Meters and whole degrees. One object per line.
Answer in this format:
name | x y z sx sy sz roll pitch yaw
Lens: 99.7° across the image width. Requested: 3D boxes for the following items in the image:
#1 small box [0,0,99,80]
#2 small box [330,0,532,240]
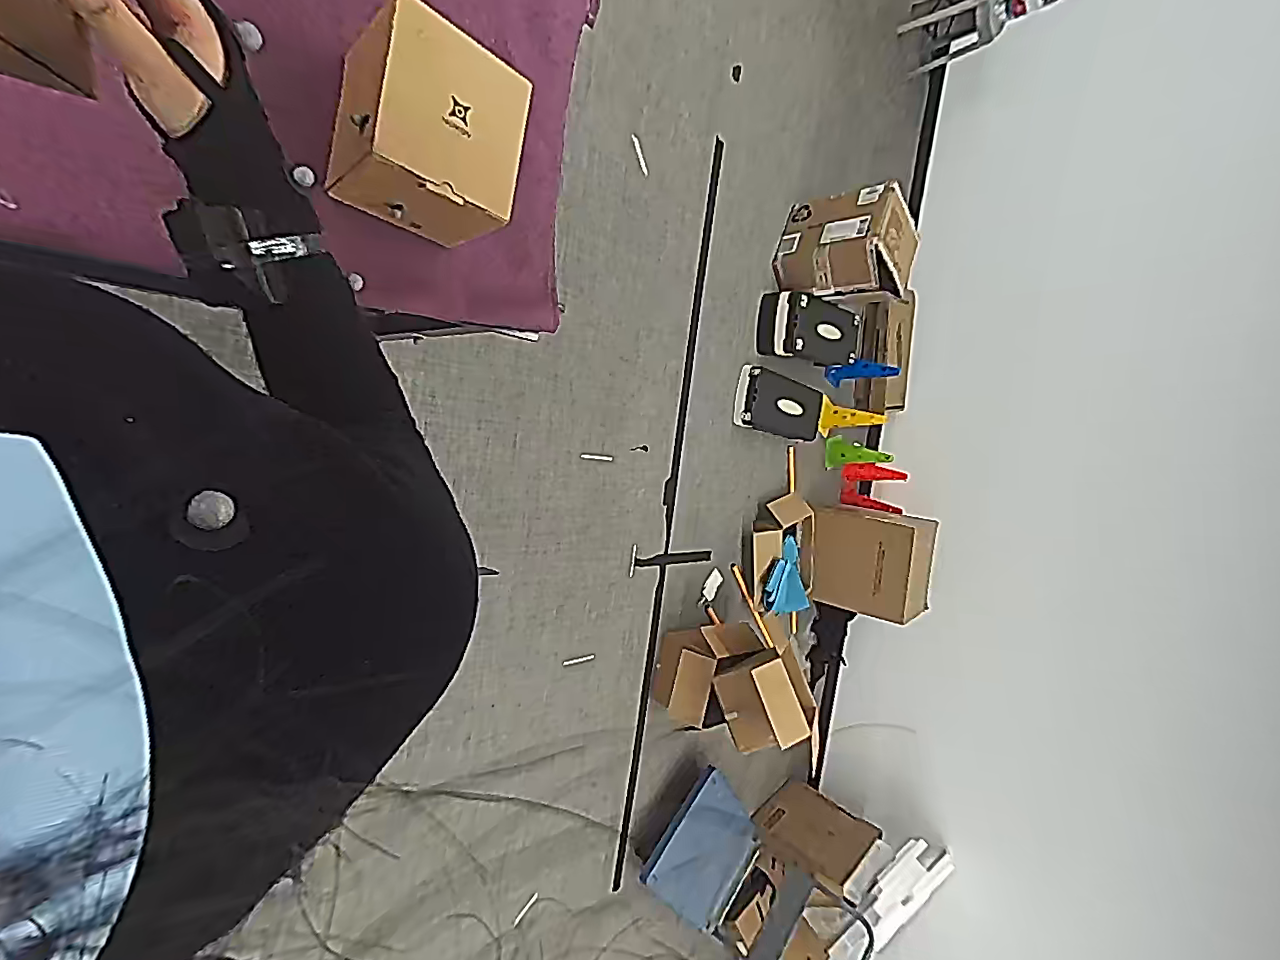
small box | -0.365 -0.320 0.235 0.168 0.179 0.176 -1 101 -39
small box | -0.260 -0.424 0.666 0.168 0.176 0.179 9 92 -46
